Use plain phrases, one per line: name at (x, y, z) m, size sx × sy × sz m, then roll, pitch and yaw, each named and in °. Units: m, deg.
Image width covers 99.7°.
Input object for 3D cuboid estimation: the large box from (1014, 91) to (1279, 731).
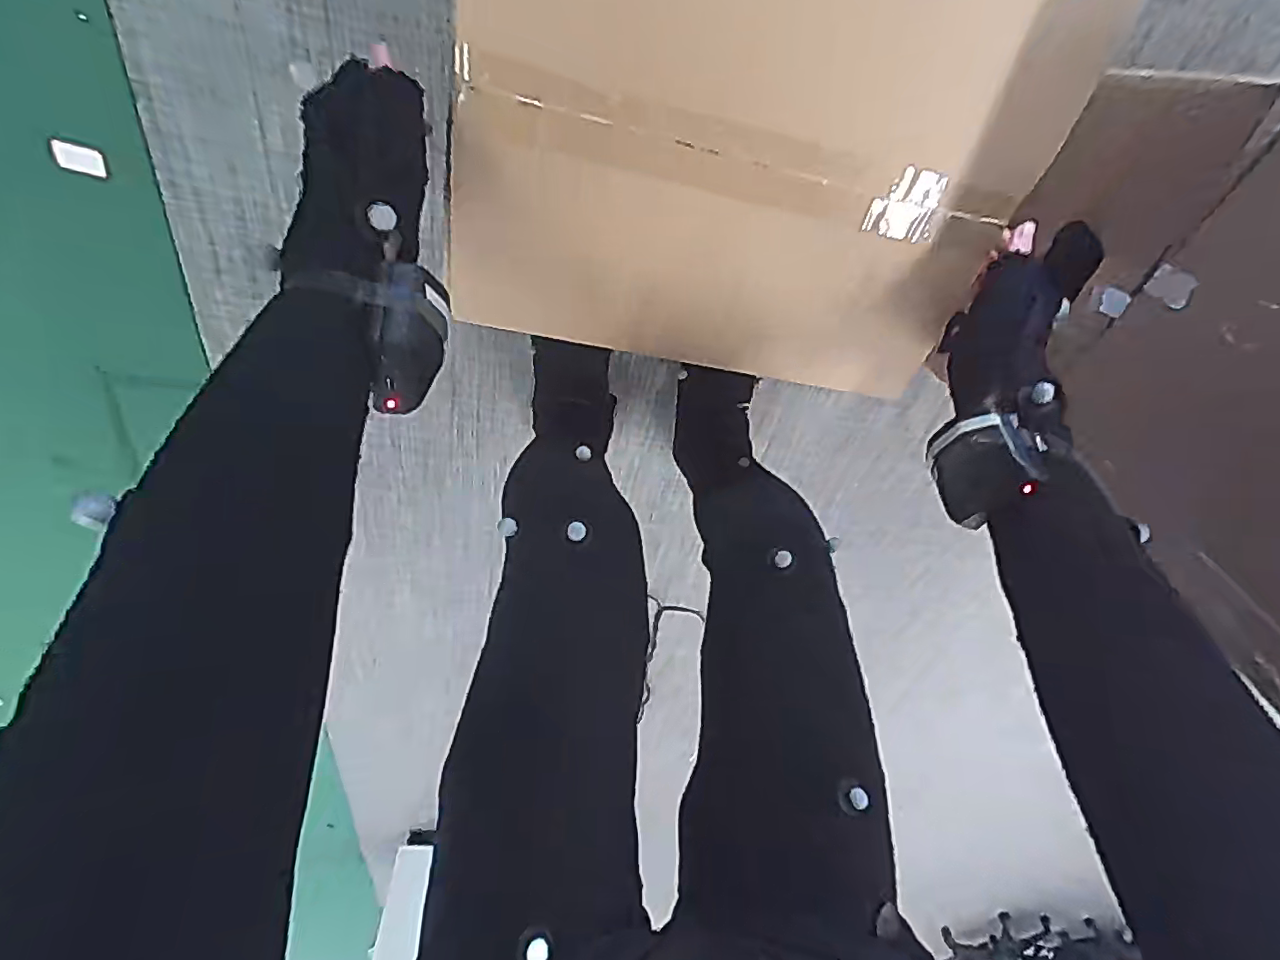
large box at (0.589, -0.041, 0.355) m, size 0.408 × 0.320 × 0.320 m, roll 7°, pitch 132°, yaw -10°
